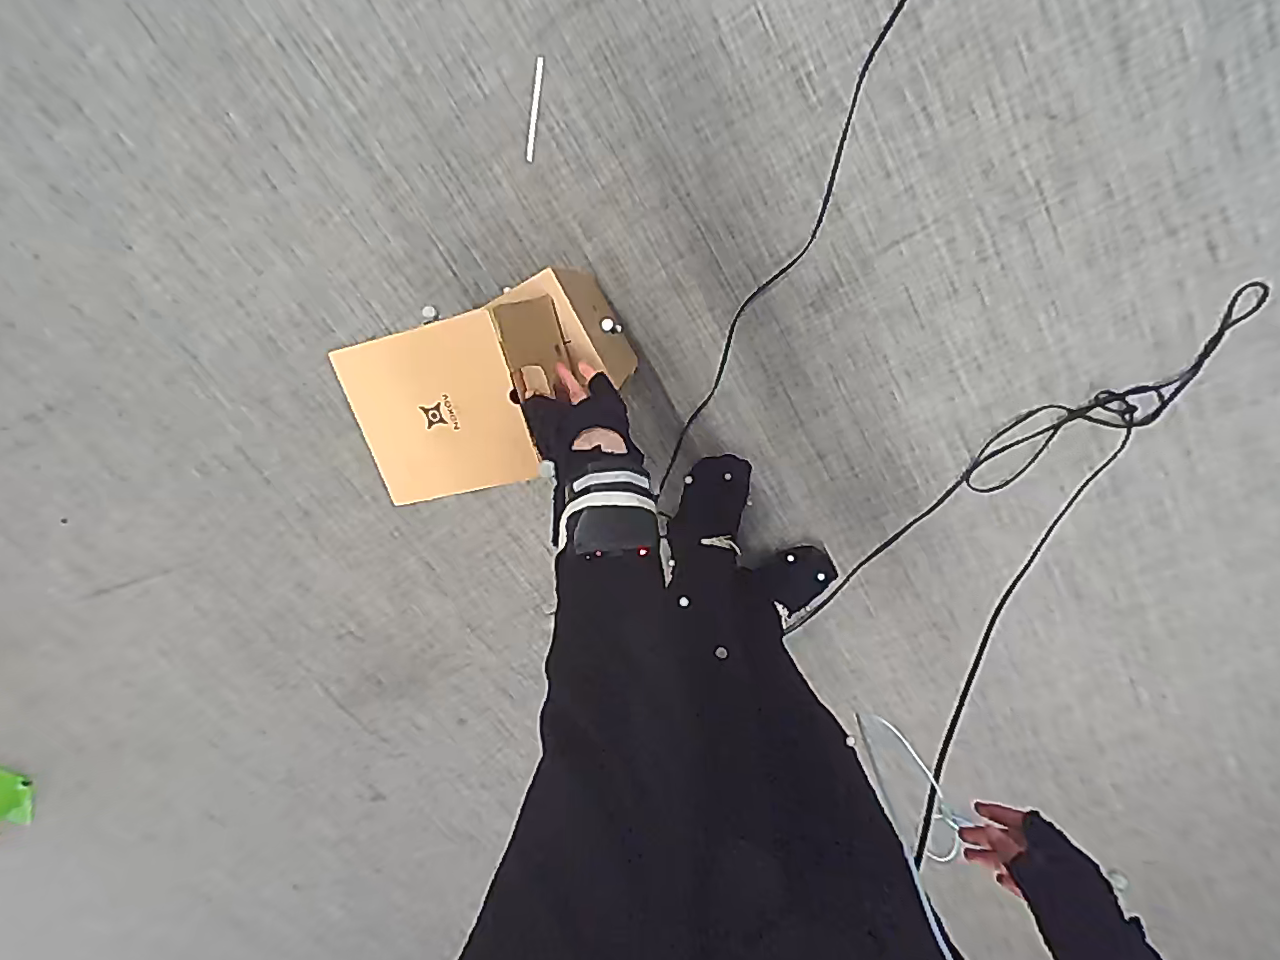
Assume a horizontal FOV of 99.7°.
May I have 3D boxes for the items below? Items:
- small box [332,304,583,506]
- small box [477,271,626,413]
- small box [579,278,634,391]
[{"bbox_3d":[-0.182,-0.089,0.596,0.179,0.176,0.168,-11,109,13],"label":"small box"},{"bbox_3d":[-0.135,-0.166,0.741,0.179,0.176,0.168,-26,106,12],"label":"small box"},{"bbox_3d":[-0.120,-0.218,0.897,0.168,0.176,0.179,-27,107,13],"label":"small box"}]
